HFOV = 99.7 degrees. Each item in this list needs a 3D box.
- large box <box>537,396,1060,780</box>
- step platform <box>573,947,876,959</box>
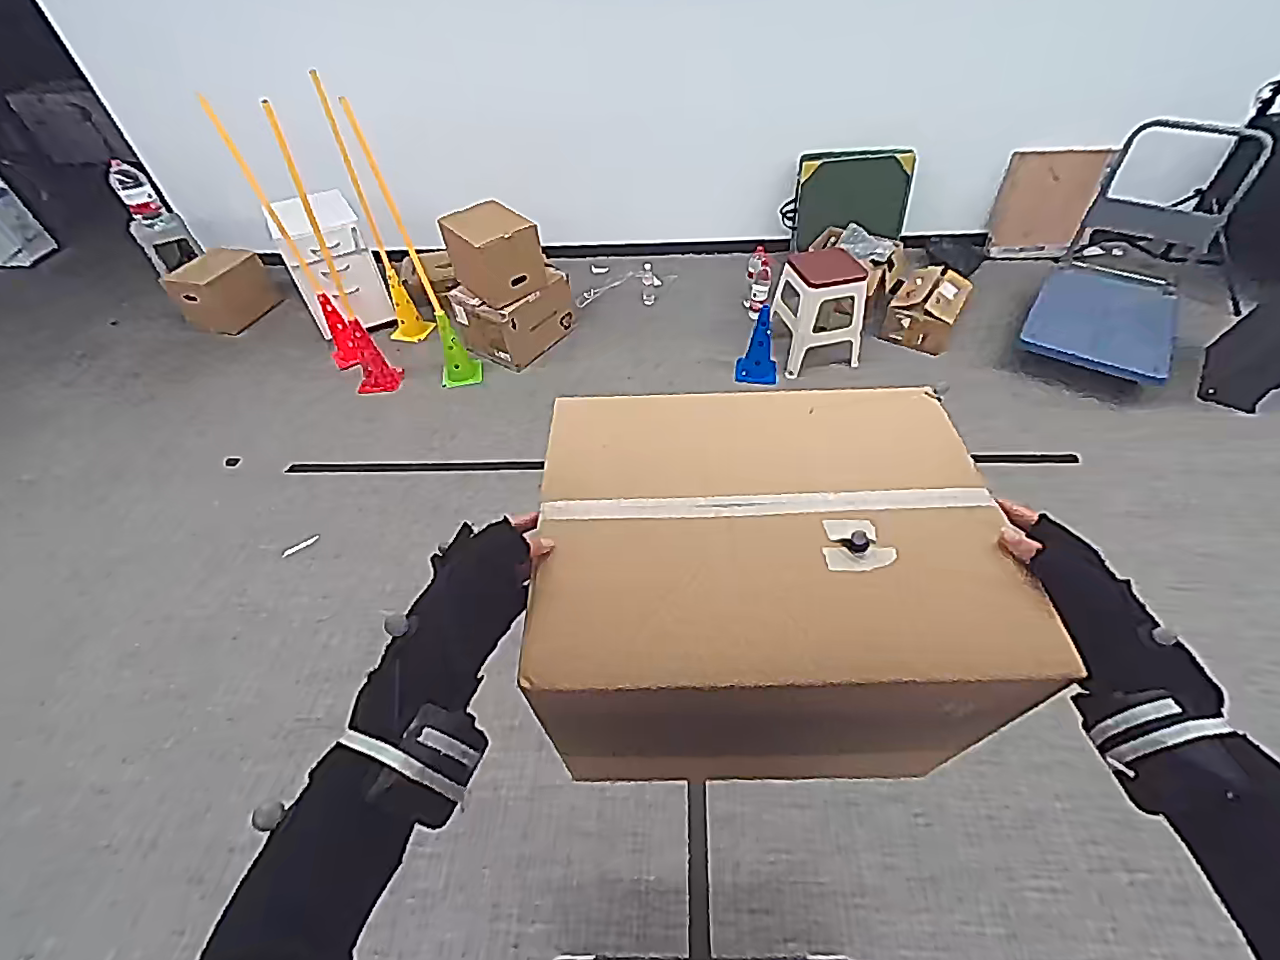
[{"bbox_3d":[0.117,0.128,0.611,0.408,0.320,0.320,-2,51,0],"label":"large box"},{"bbox_3d":[0.176,1.136,1.090,0.684,0.204,0.286,-2,48,1],"label":"step platform"}]
